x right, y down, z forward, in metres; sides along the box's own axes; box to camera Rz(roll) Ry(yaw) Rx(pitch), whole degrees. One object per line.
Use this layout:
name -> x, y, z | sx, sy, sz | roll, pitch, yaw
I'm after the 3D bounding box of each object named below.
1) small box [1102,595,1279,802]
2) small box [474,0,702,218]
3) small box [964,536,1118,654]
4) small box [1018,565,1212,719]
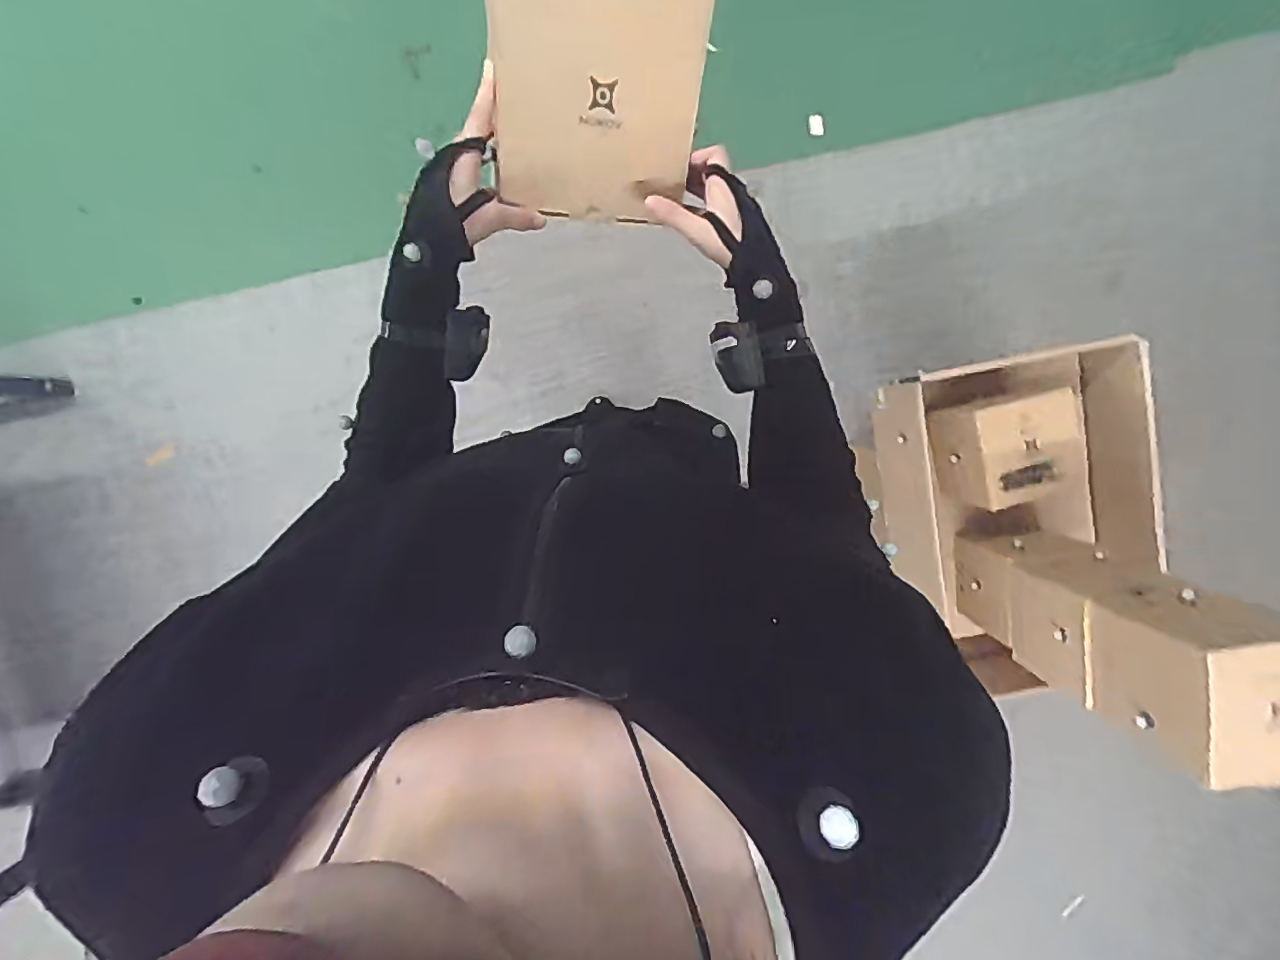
small box -> 0.727, 0.261, 0.677 | 0.168, 0.176, 0.179 | -7, 96, 2
small box -> -0.060, -0.354, 0.490 | 0.168, 0.176, 0.179 | -3, 125, -17
small box -> 0.727, 0.205, 0.999 | 0.179, 0.176, 0.168 | -5, 97, 3
small box -> 0.722, 0.238, 0.838 | 0.168, 0.176, 0.179 | -7, 97, 3
